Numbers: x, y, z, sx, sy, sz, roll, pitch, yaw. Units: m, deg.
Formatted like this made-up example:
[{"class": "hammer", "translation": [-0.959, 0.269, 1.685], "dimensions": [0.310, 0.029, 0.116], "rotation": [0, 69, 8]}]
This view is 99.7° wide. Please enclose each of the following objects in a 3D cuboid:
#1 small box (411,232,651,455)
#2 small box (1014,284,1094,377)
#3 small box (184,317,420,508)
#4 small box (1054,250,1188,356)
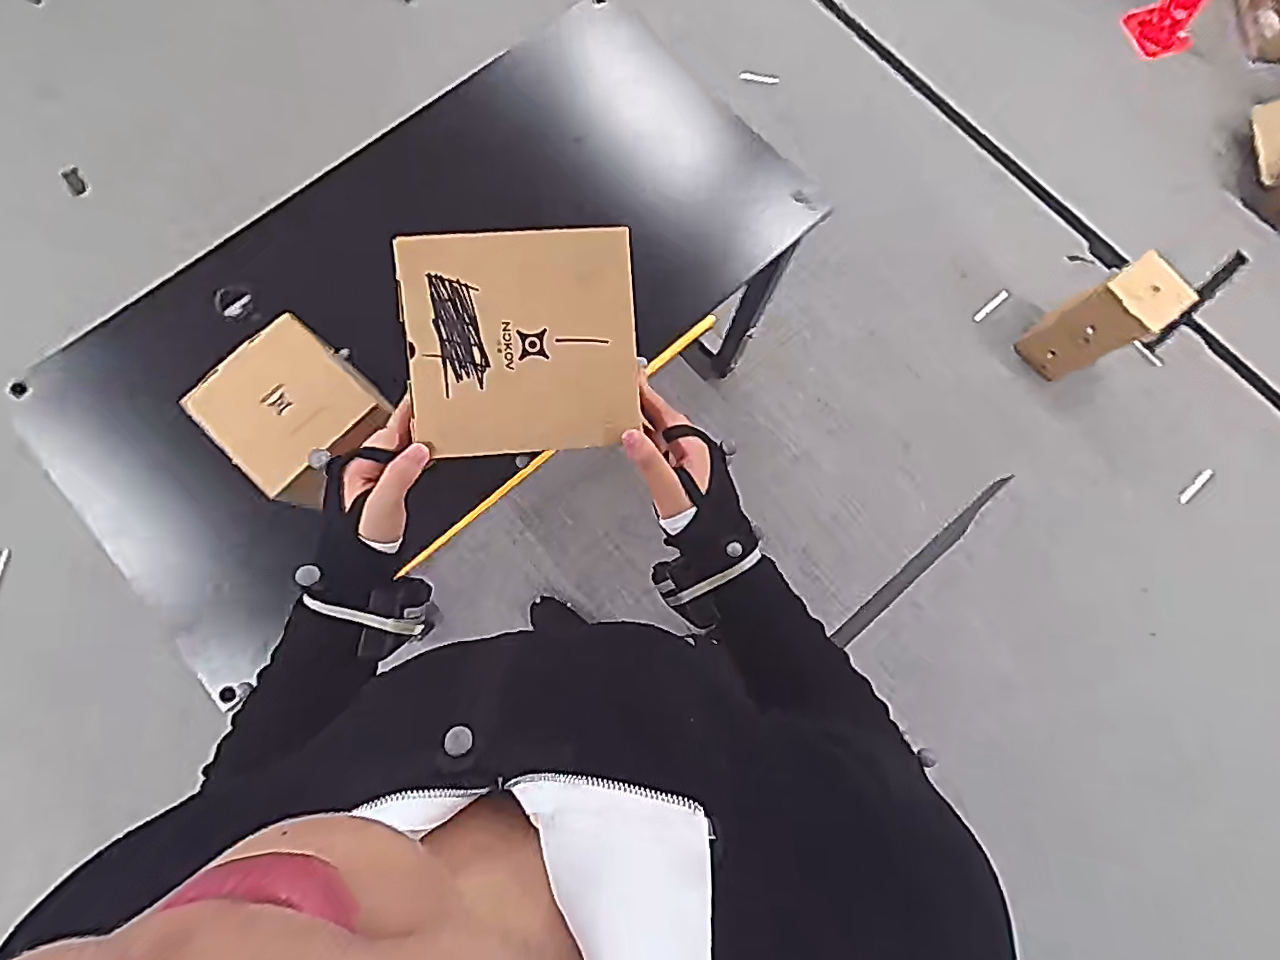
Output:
[{"class": "small box", "translation": [-0.085, -0.108, 0.490], "dimensions": [0.179, 0.176, 0.168], "rotation": [-3, 95, -4]}, {"class": "small box", "translation": [1.274, -0.438, 1.619], "dimensions": [0.179, 0.176, 0.168], "rotation": [-42, 83, -8]}, {"class": "small box", "translation": [-0.442, -0.078, 0.738], "dimensions": [0.179, 0.176, 0.168], "rotation": [42, 81, 5]}, {"class": "small box", "translation": [1.283, -0.470, 1.456], "dimensions": [0.179, 0.176, 0.168], "rotation": [-36, 82, -8]}]
